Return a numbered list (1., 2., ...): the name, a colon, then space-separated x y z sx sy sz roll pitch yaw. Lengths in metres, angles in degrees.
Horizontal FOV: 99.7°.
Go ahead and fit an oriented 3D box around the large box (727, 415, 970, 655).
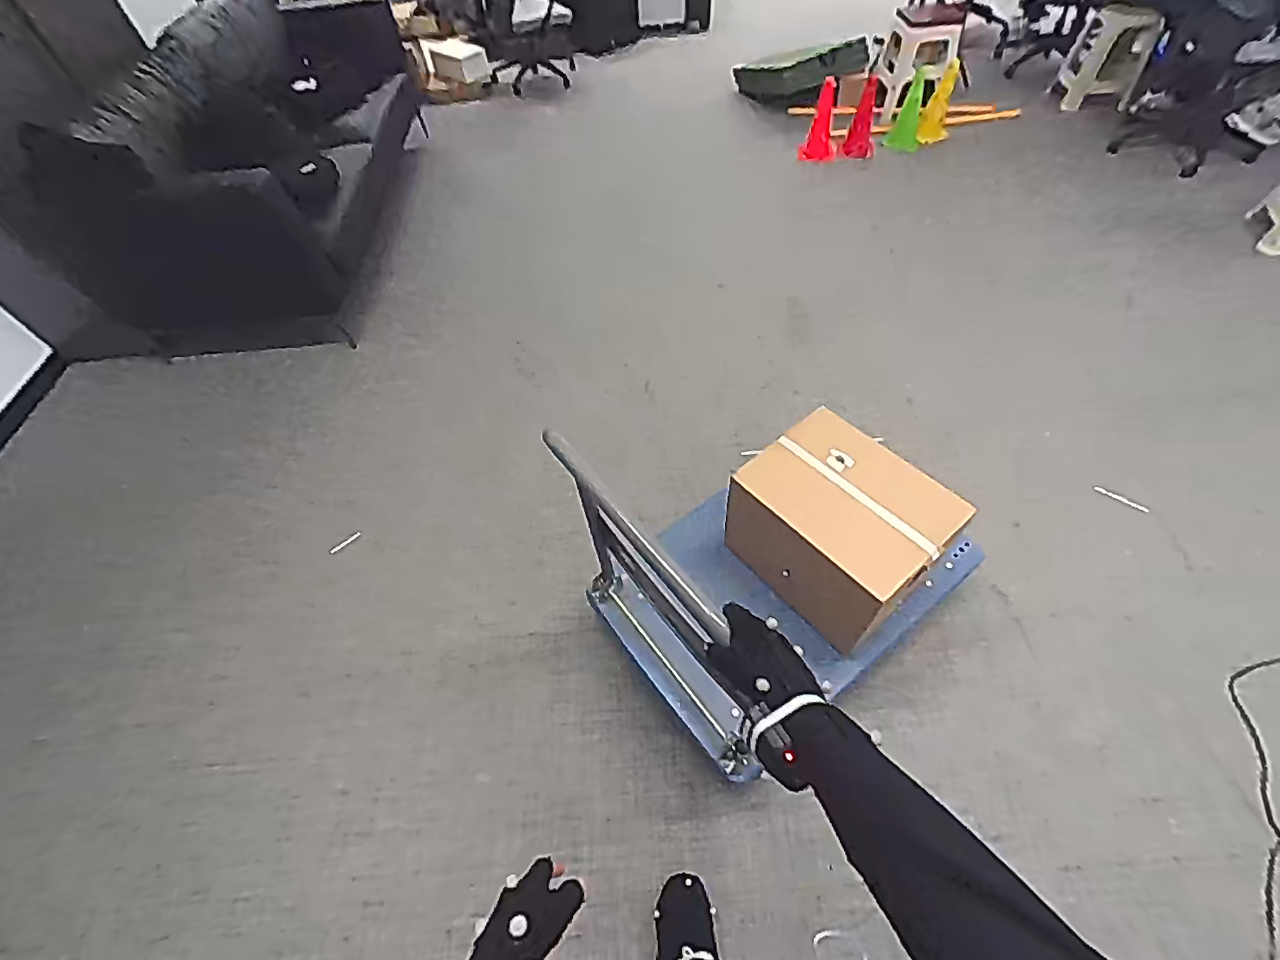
1. large box: 0.457 0.126 1.281 0.320 0.320 0.408 -34 57 -20
